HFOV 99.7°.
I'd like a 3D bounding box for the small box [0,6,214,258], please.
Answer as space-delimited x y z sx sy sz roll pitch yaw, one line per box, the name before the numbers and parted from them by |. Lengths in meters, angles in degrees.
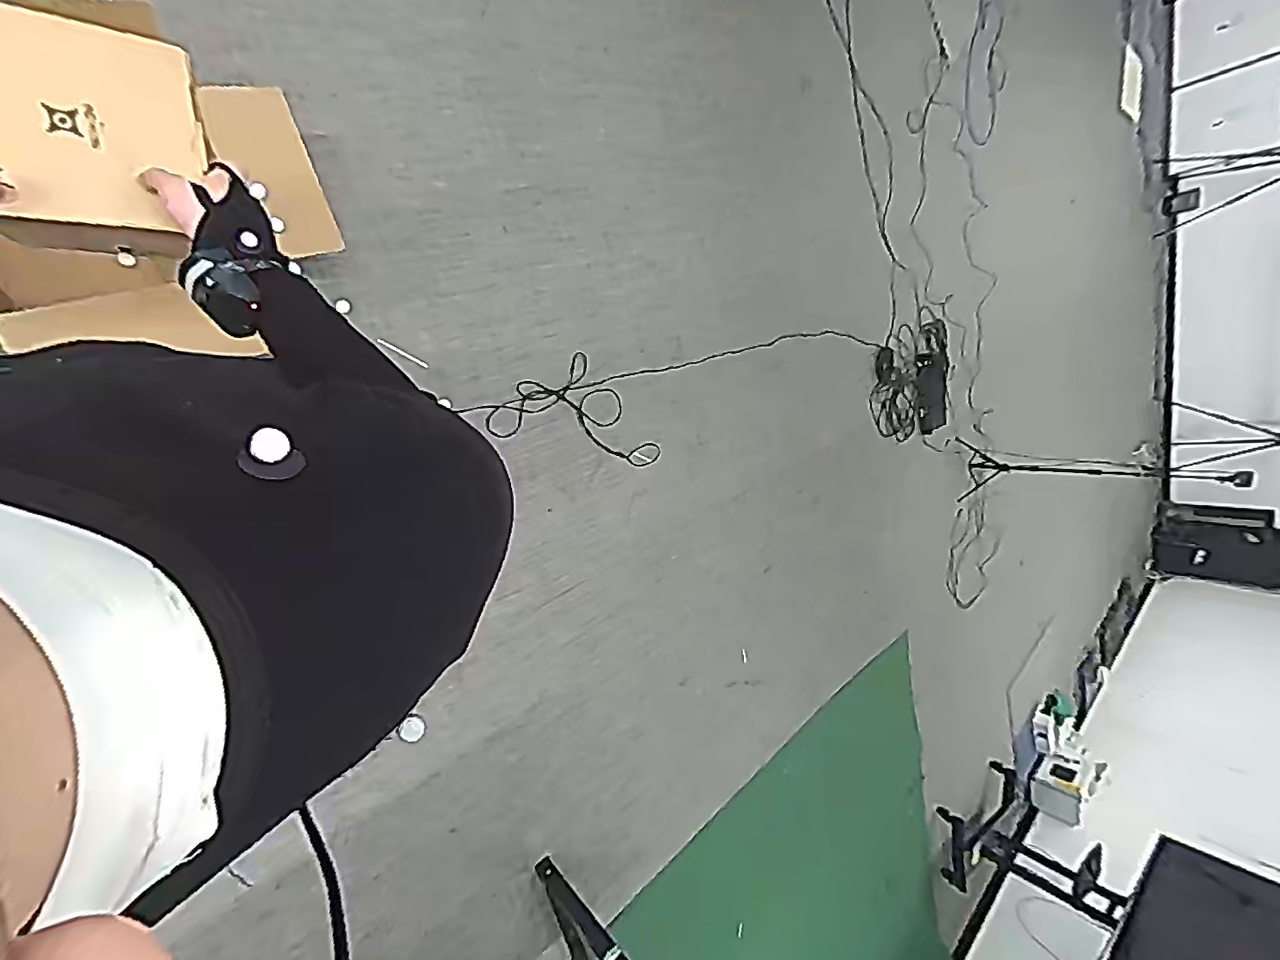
small box | -0.547 -0.326 0.540 0.179 0.176 0.168 -9 105 -35
